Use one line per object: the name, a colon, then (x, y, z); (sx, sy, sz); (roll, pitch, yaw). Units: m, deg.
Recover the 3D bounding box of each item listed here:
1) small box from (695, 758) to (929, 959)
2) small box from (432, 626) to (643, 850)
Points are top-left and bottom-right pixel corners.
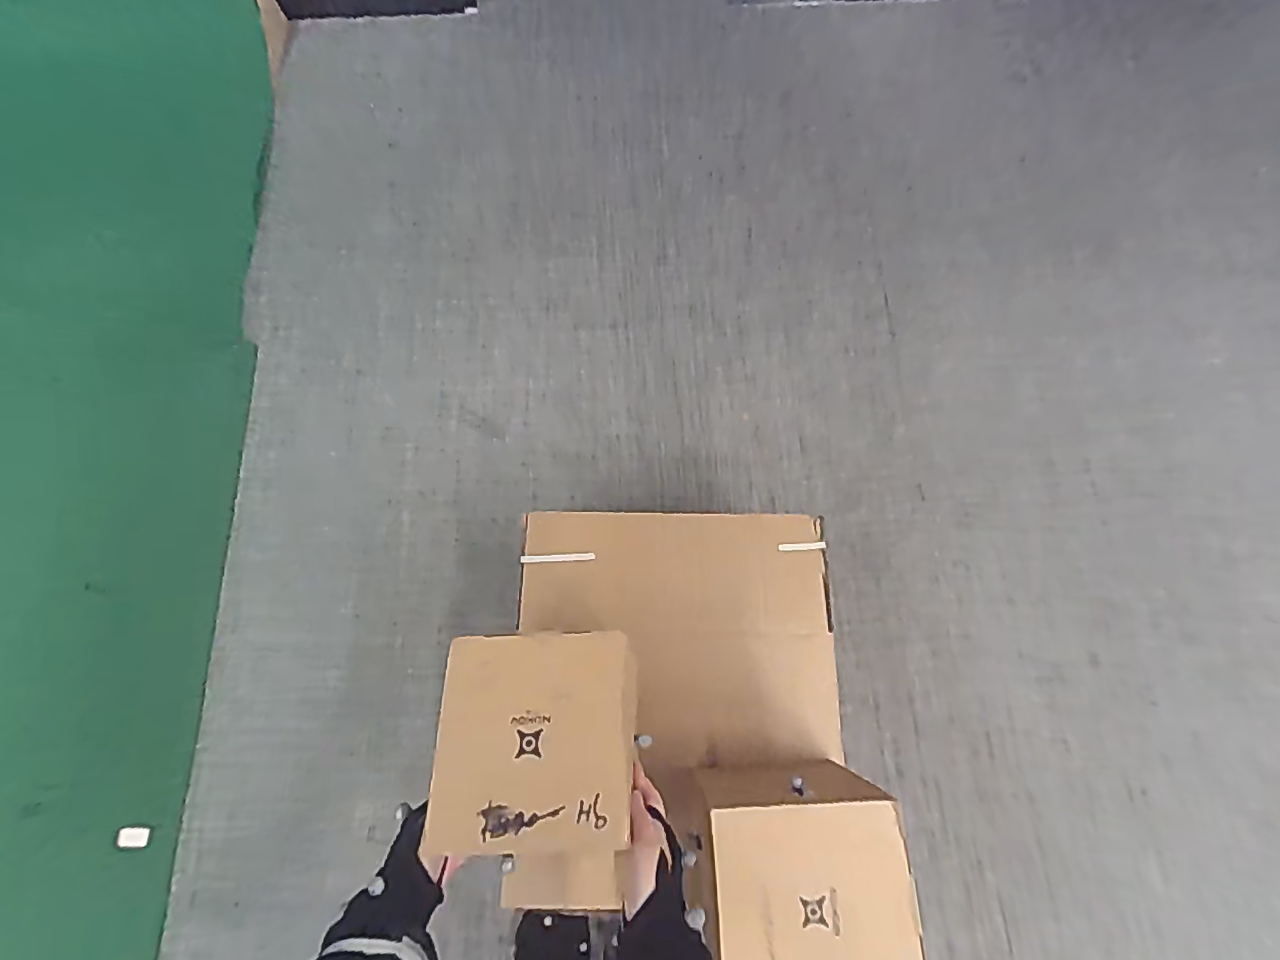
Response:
small box: (0.156, 0.387, 0.543); (0.179, 0.176, 0.168); (-2, 73, -1)
small box: (-0.084, 0.258, 0.540); (0.168, 0.176, 0.179); (-4, 60, 1)
